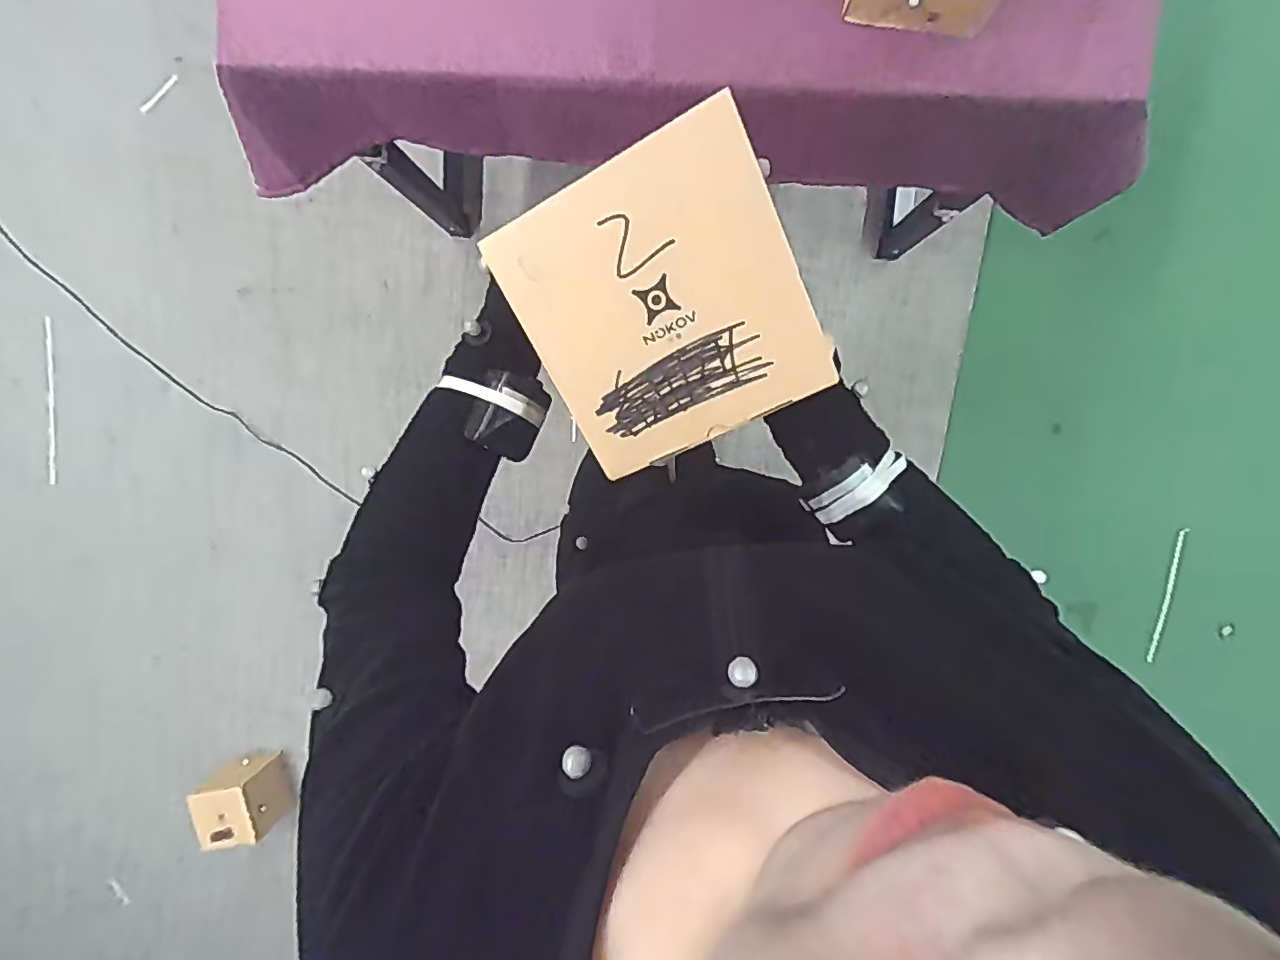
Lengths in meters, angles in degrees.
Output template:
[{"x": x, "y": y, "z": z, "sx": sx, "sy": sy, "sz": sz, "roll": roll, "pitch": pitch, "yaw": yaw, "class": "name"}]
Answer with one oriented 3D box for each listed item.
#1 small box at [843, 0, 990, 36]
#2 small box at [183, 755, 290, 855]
[{"x": 0.340, "y": -0.649, "z": 0.595, "sx": 0.168, "sy": 0.176, "sz": 0.179, "roll": 9, "pitch": 97, "yaw": 2, "class": "small box"}, {"x": -1.161, "y": 0.938, "z": 1.570, "sx": 0.168, "sy": 0.176, "sz": 0.179, "roll": -11, "pitch": 95, "yaw": 4, "class": "small box"}]
